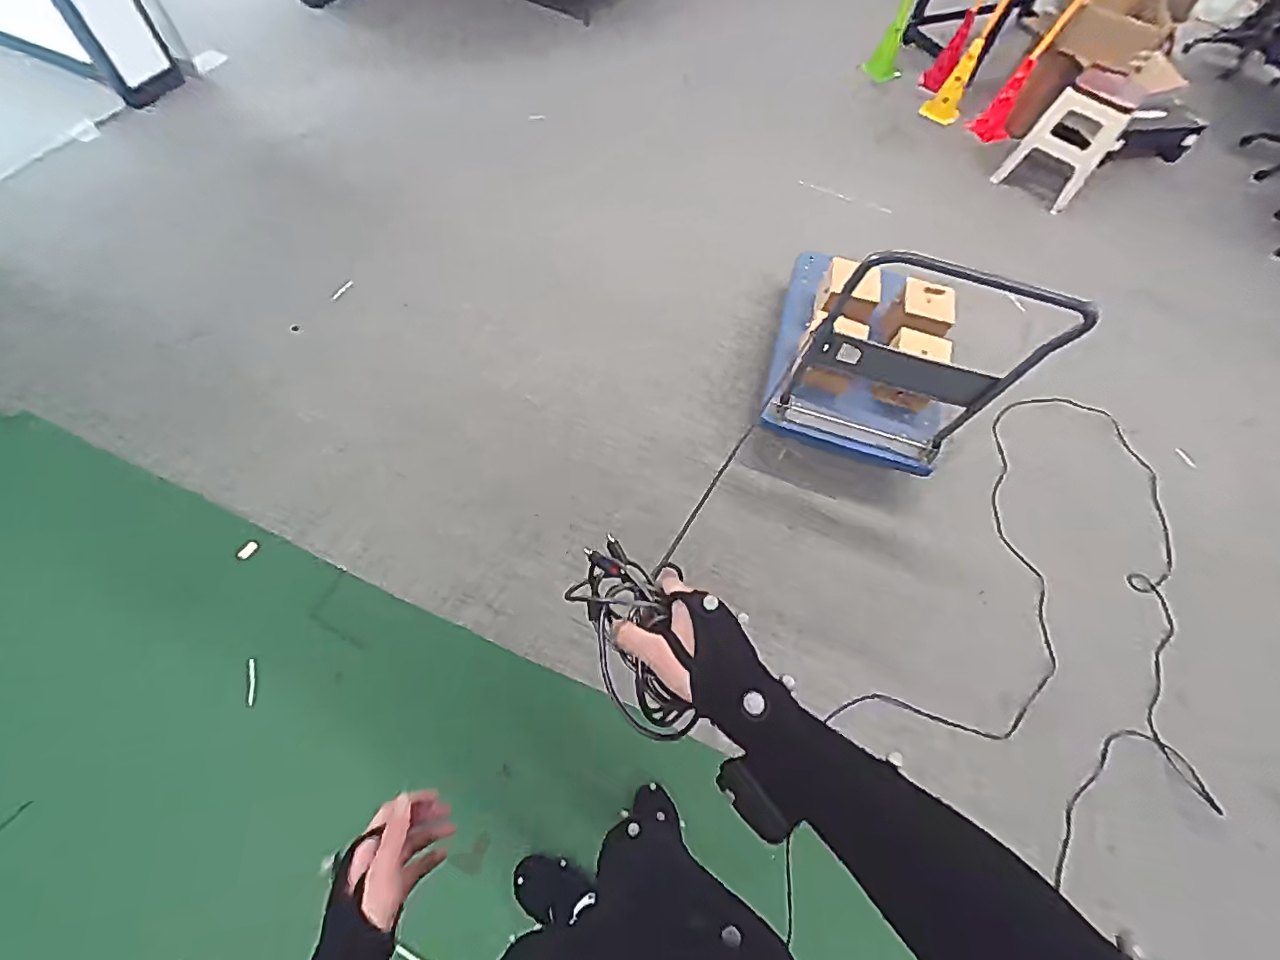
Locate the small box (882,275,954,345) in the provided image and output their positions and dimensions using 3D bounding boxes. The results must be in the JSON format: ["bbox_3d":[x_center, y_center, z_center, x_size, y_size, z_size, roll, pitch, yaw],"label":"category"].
[{"bbox_3d":[0.961,-0.569,1.875,0.168,0.176,0.179,15,63,3],"label":"small box"}]

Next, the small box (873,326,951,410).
[{"bbox_3d":[0.881,-0.363,1.762,0.168,0.176,0.179,19,63,4],"label":"small box"}]

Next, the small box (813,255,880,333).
[{"bbox_3d":[0.717,-0.644,1.889,0.168,0.176,0.179,14,62,1],"label":"small box"}]
